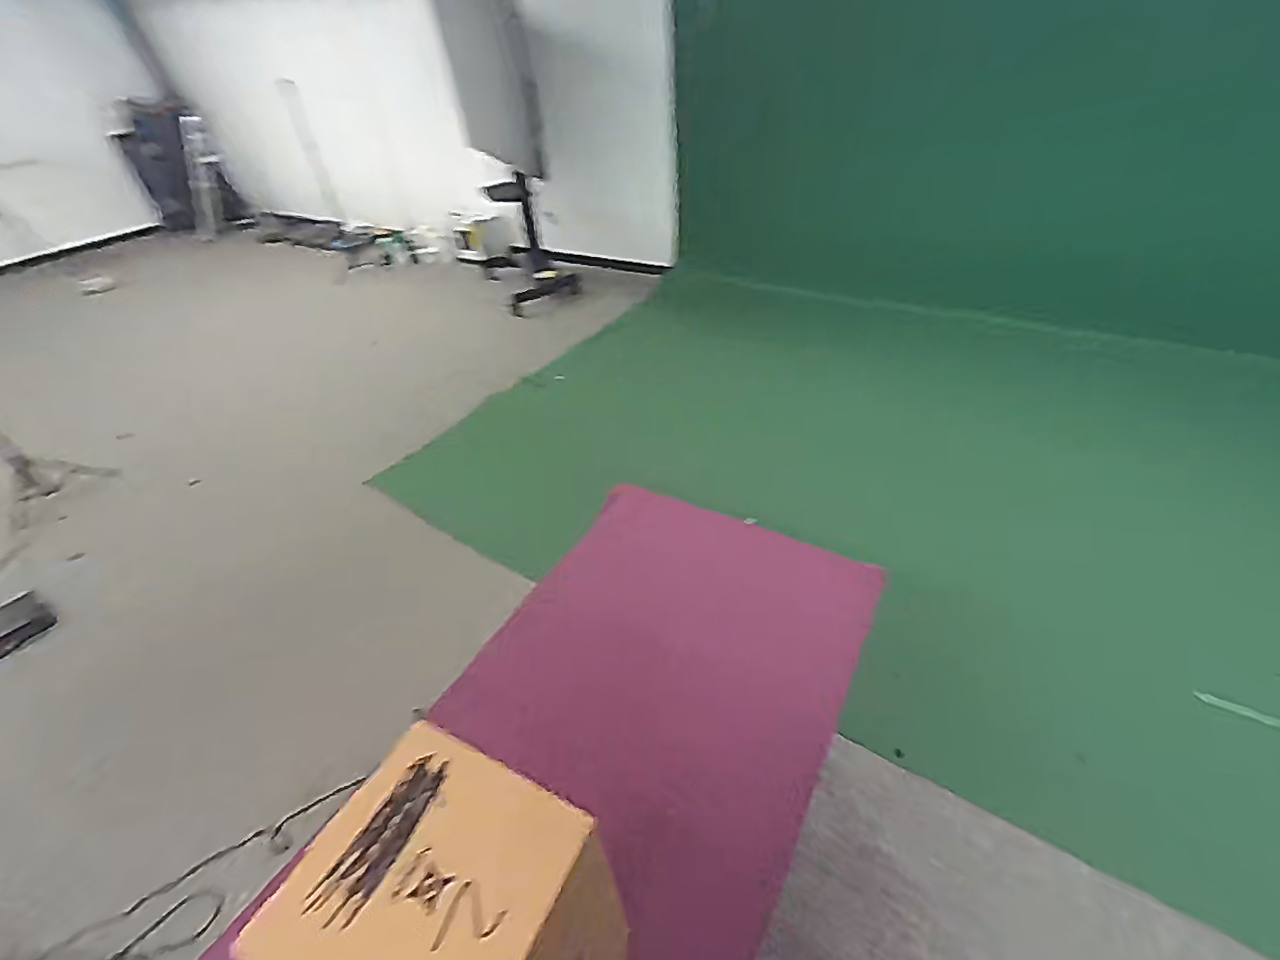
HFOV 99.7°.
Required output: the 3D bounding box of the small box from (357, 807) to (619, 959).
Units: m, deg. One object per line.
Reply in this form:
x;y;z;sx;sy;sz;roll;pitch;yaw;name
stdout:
-0.132;0.454;0.503;0.179;0.176;0.168;15;43;23;small box
